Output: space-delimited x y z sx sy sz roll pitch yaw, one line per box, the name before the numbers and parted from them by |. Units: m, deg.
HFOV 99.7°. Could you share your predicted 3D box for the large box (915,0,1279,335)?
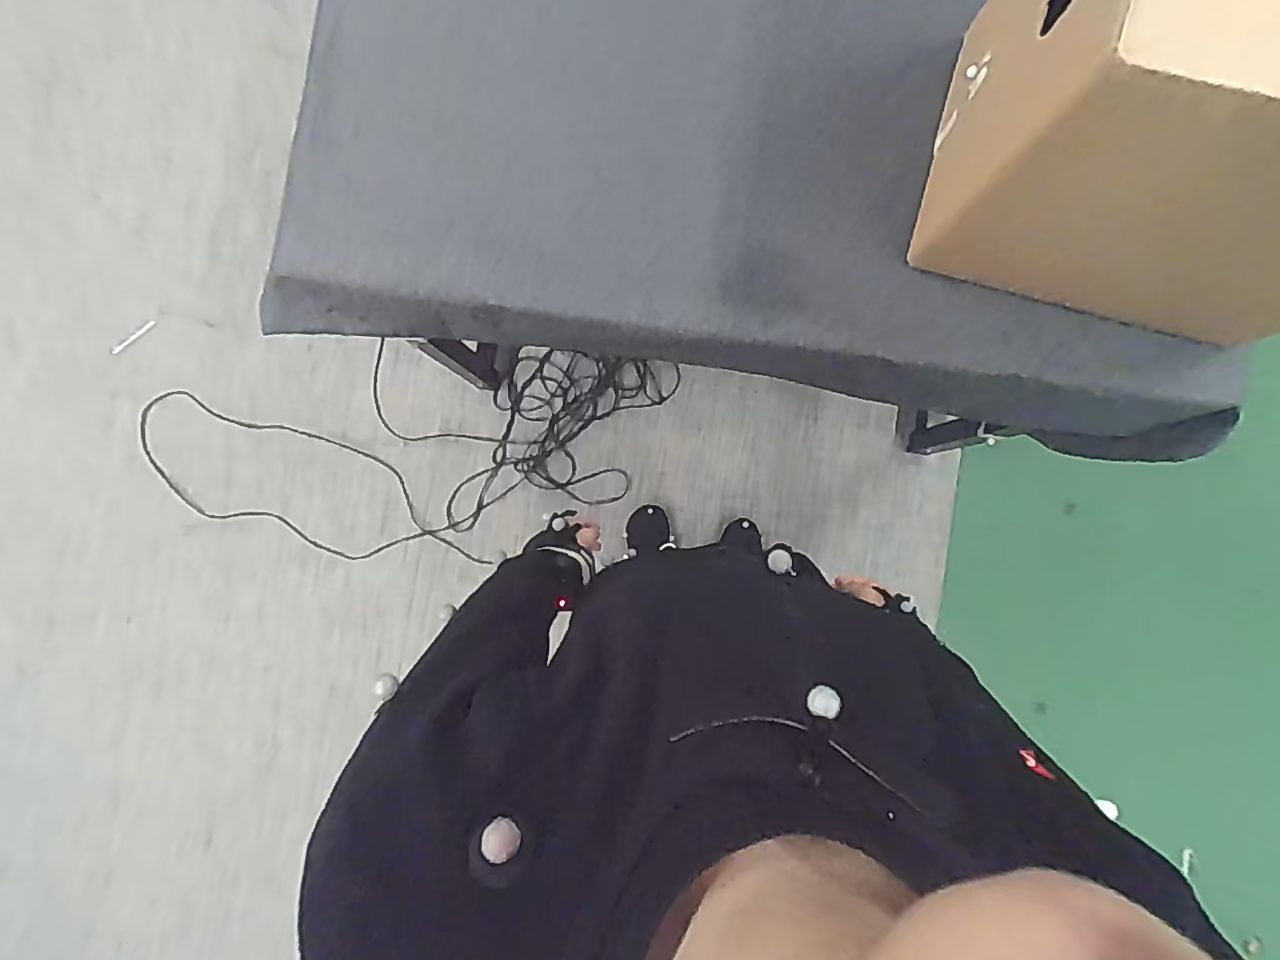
large box | 0.554 -0.374 0.515 0.408 0.320 0.320 15 87 2
